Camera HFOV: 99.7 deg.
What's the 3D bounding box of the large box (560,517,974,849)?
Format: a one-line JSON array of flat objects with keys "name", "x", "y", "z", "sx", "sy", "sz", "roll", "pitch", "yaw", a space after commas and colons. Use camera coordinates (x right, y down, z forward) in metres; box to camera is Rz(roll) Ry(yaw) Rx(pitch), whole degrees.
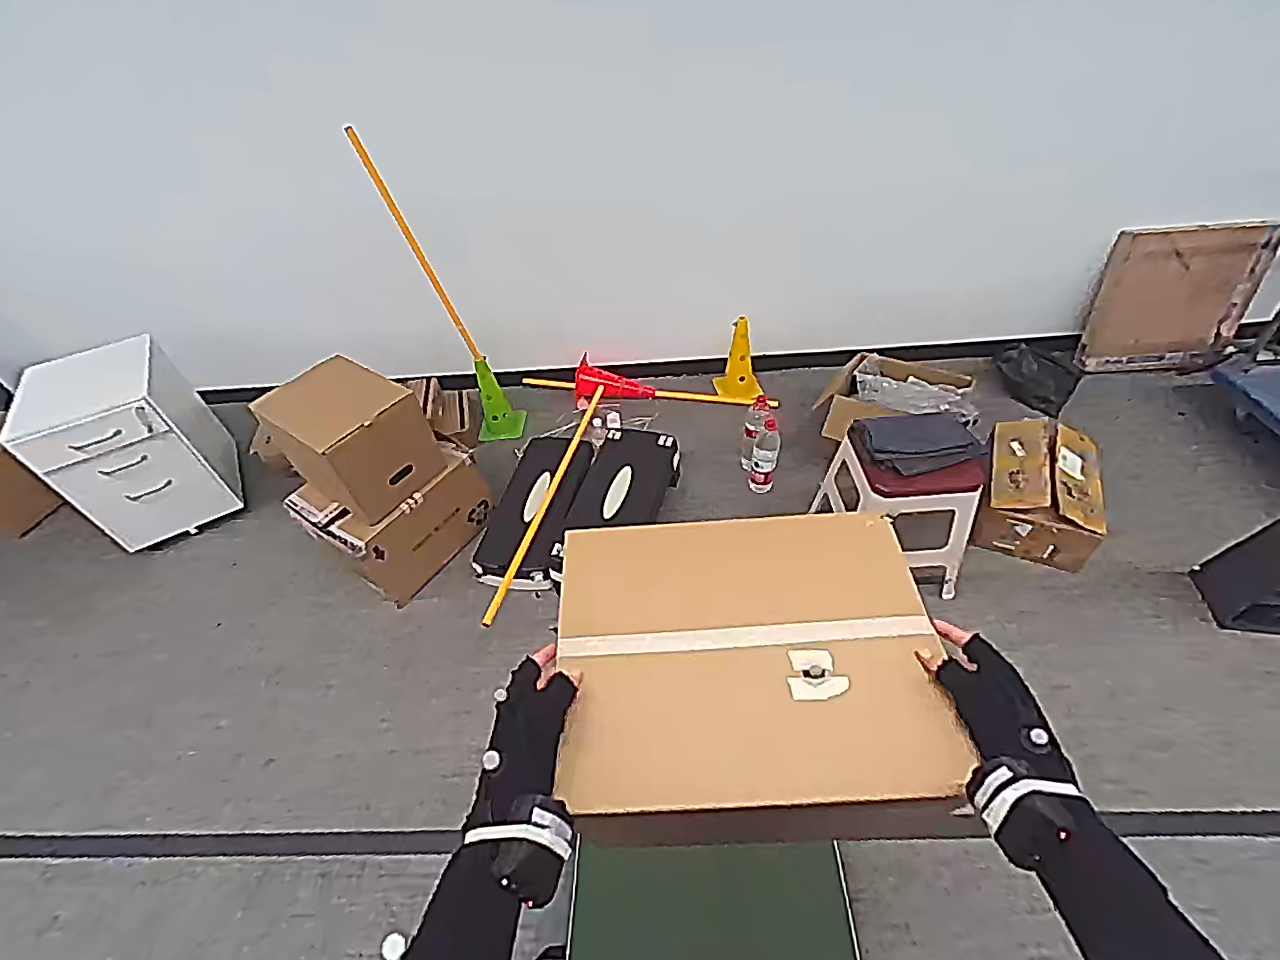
[{"name": "large box", "x": 0.120, "y": 0.275, "z": 0.718, "sx": 0.408, "sy": 0.320, "sz": 0.320, "roll": -4, "pitch": 51, "yaw": 1}]
